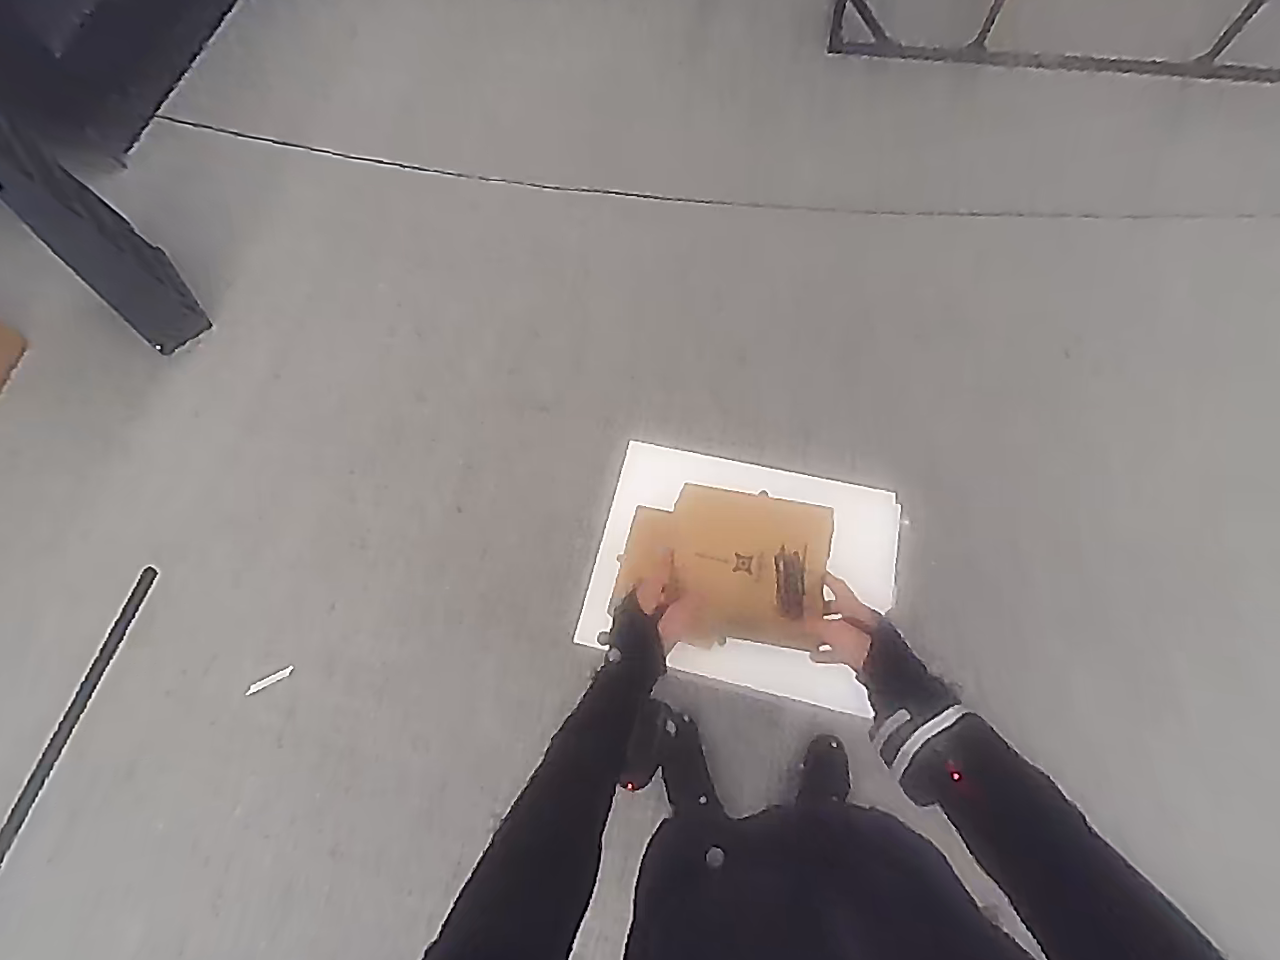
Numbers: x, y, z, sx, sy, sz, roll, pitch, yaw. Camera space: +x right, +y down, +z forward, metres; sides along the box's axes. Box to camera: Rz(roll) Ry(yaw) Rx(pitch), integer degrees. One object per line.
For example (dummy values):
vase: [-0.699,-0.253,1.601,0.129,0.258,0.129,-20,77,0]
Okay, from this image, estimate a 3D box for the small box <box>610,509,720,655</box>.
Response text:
small box: [0.060,0.171,0.874,0.168,0.176,0.179,12,69,10]

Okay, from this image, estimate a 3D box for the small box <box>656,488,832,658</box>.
small box: [0.120,0.117,0.682,0.179,0.176,0.168,9,78,2]
